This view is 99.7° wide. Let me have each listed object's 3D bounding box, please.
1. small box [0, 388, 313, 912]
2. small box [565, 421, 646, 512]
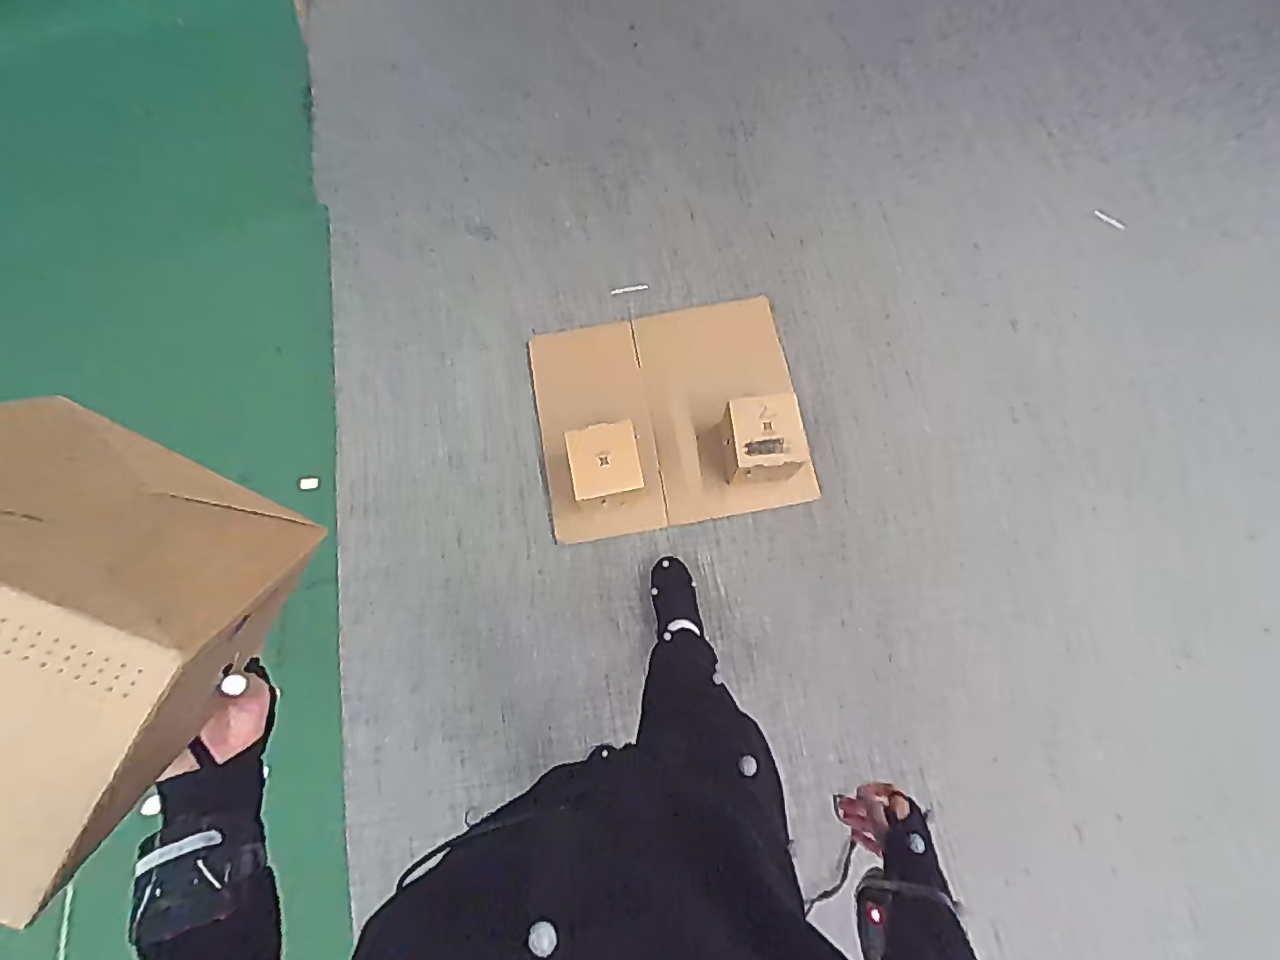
[{"bbox_3d":[-0.315,0.072,0.293,0.179,0.168,0.176,32,96,-17],"label":"small box"},{"bbox_3d":[-0.080,-0.026,1.345,0.168,0.176,0.179,-12,75,-1],"label":"small box"}]
